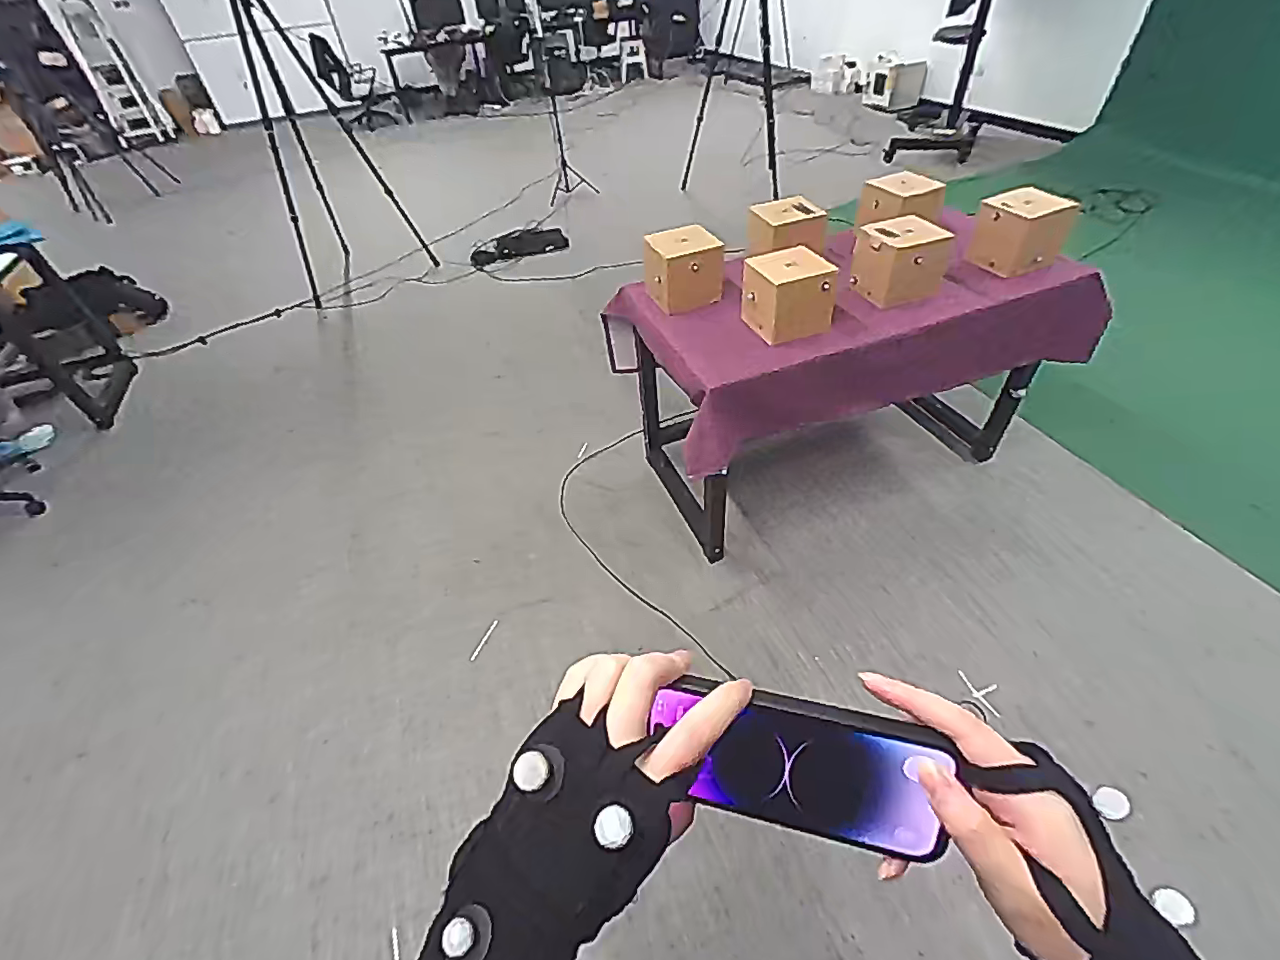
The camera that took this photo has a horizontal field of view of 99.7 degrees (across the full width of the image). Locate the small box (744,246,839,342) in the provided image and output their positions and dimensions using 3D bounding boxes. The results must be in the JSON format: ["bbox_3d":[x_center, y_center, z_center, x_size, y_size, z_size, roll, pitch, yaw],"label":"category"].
[{"bbox_3d":[0.381,-0.476,1.396,0.179,0.176,0.168,-17,46,-11],"label":"small box"}]

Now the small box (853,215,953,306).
[{"bbox_3d":[0.704,-0.596,1.475,0.179,0.176,0.168,-15,46,-10],"label":"small box"}]

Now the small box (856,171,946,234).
[{"bbox_3d":[0.815,-0.851,1.712,0.168,0.176,0.179,-21,47,-13],"label":"small box"}]

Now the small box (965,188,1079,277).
[{"bbox_3d":[1.074,-0.703,1.537,0.179,0.176,0.168,-19,46,-12],"label":"small box"}]
